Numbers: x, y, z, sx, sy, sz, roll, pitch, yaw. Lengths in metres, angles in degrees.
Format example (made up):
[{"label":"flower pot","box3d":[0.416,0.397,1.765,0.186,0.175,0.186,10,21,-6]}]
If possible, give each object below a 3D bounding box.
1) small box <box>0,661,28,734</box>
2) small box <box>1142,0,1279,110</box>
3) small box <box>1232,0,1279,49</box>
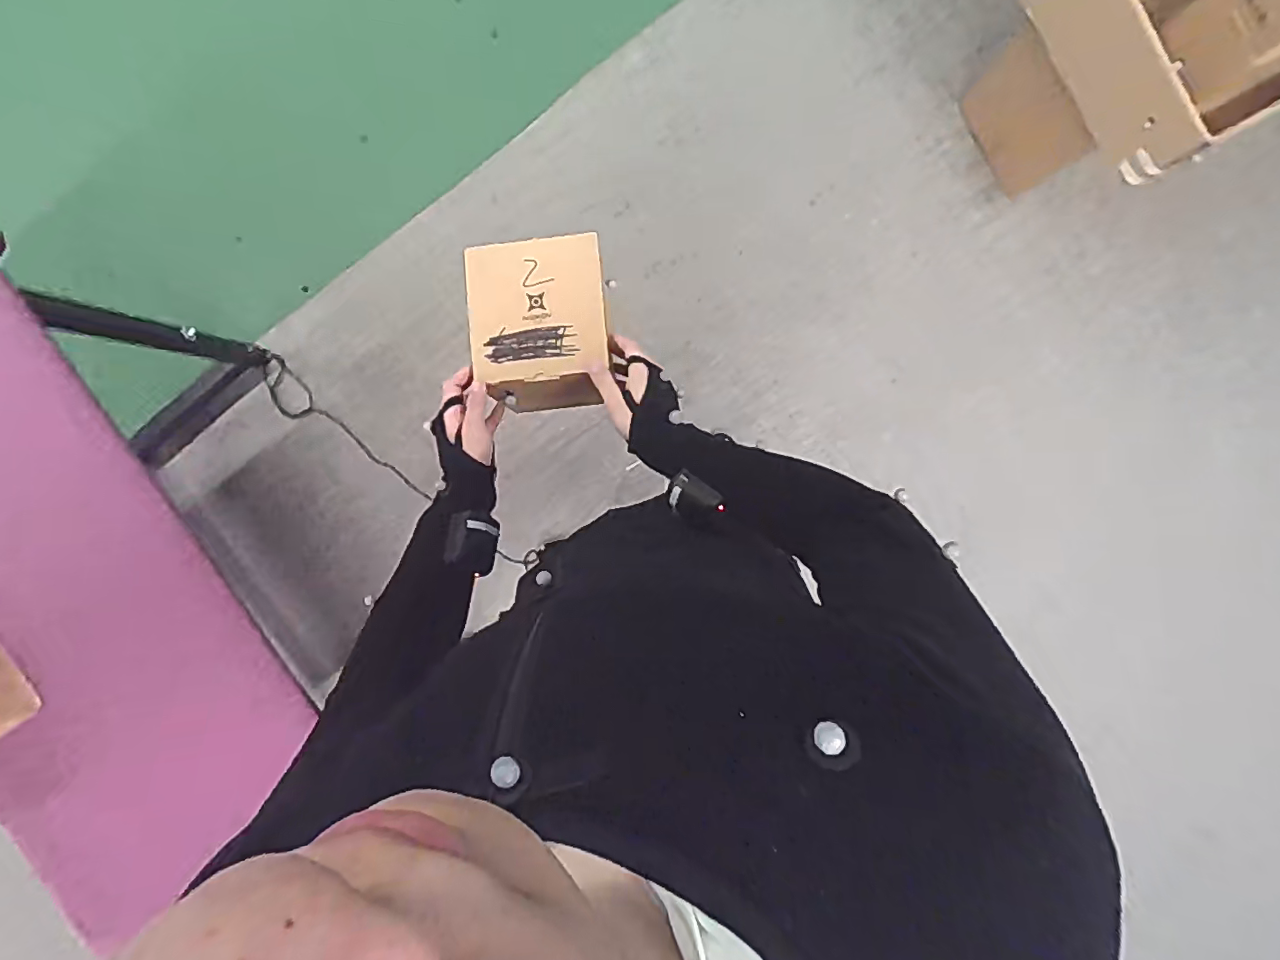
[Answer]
[{"label":"small box","box3d":[-1.206,0.399,0.893,0.179,0.176,0.168,-35,91,2]},{"label":"small box","box3d":[1.121,-0.854,1.015,0.179,0.176,0.168,-25,91,5]},{"label":"small box","box3d":[1.109,-0.849,0.853,0.179,0.176,0.168,-25,91,4]}]
